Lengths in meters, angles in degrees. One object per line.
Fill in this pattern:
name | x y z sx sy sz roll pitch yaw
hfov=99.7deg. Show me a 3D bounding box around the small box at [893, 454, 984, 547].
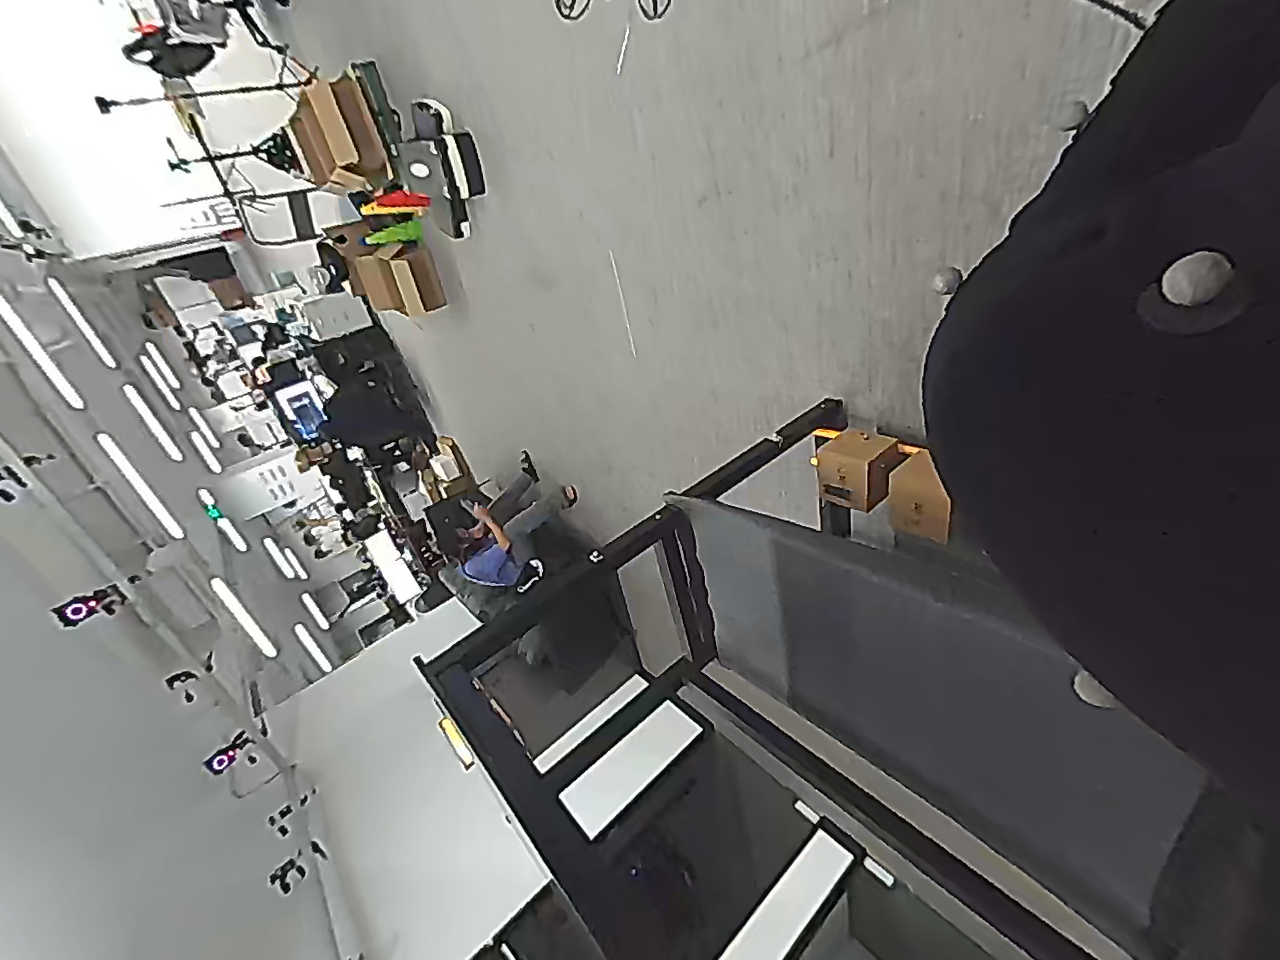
small box | 0.809 0.048 1.467 0.168 0.176 0.179 21 133 47
